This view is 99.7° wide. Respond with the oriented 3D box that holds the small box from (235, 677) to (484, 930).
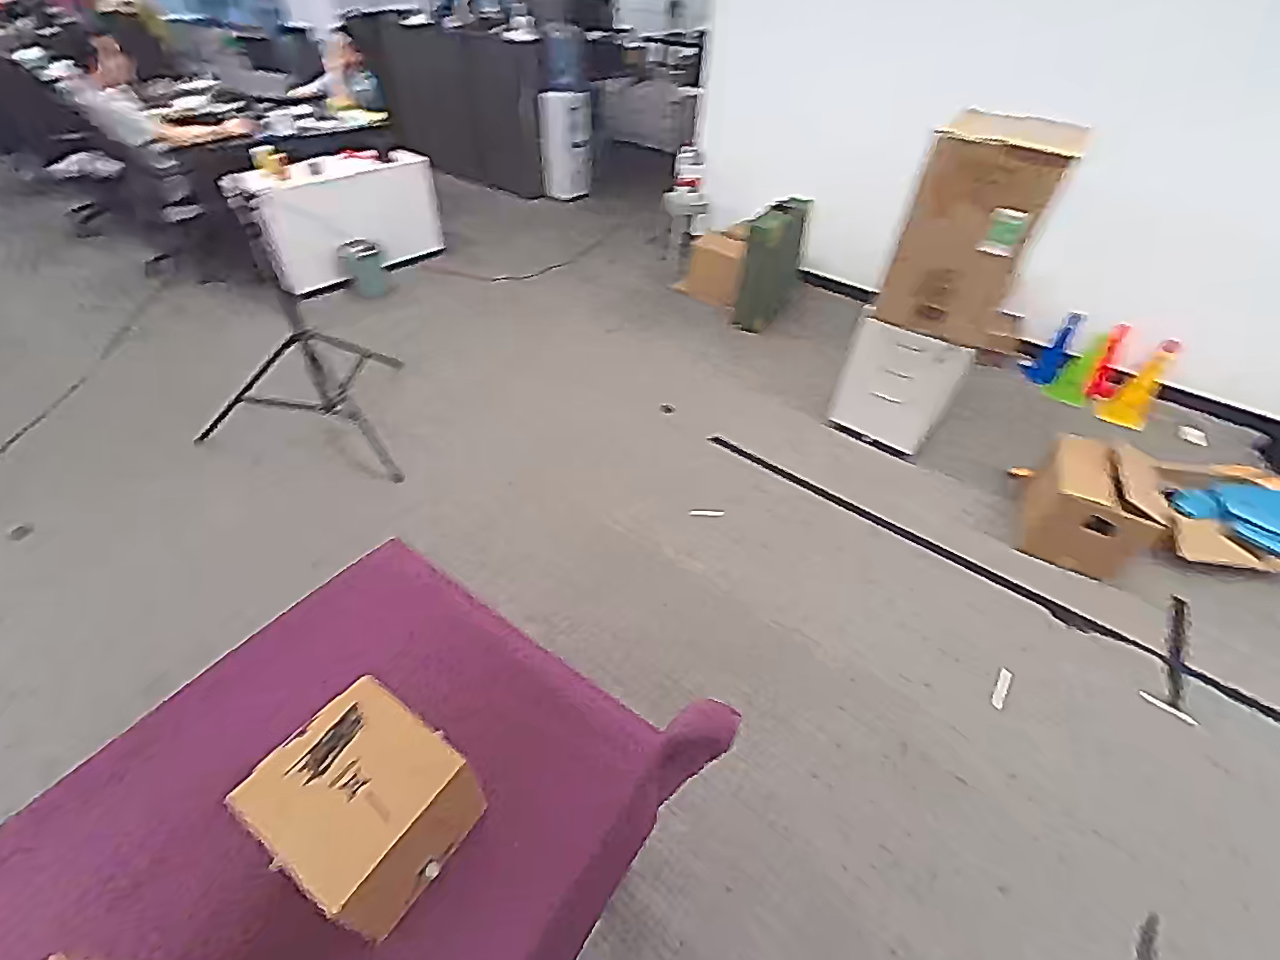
[{"bbox_3d":[-0.308,0.375,0.628,0.179,0.176,0.168,26,47,22],"label":"small box"}]
